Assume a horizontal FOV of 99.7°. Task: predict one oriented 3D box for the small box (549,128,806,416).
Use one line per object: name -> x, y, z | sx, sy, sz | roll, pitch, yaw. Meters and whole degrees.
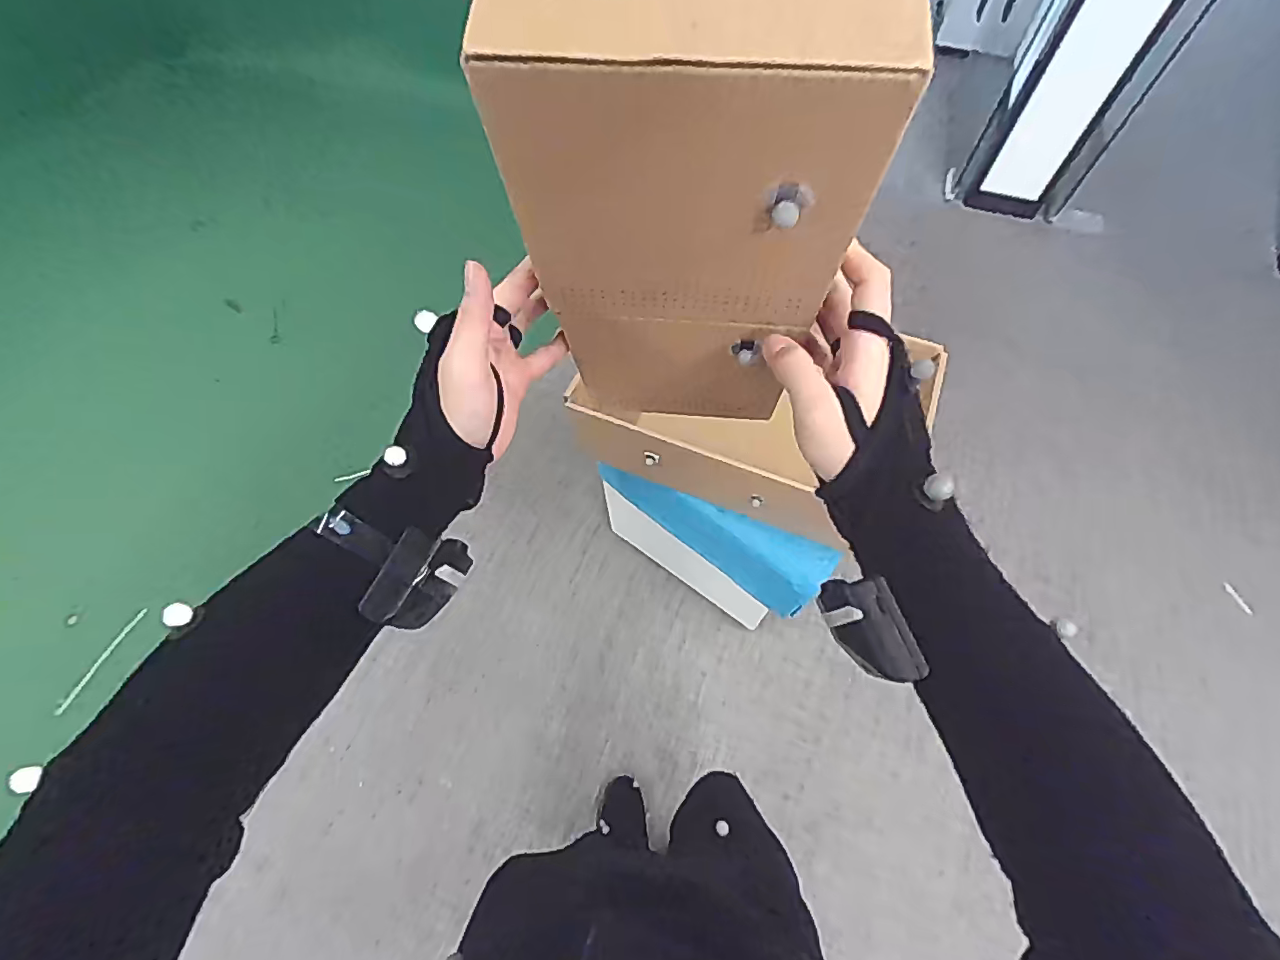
small box -> 0.035, -0.163, 0.463 | 0.179, 0.176, 0.168 | 4, 75, 5
